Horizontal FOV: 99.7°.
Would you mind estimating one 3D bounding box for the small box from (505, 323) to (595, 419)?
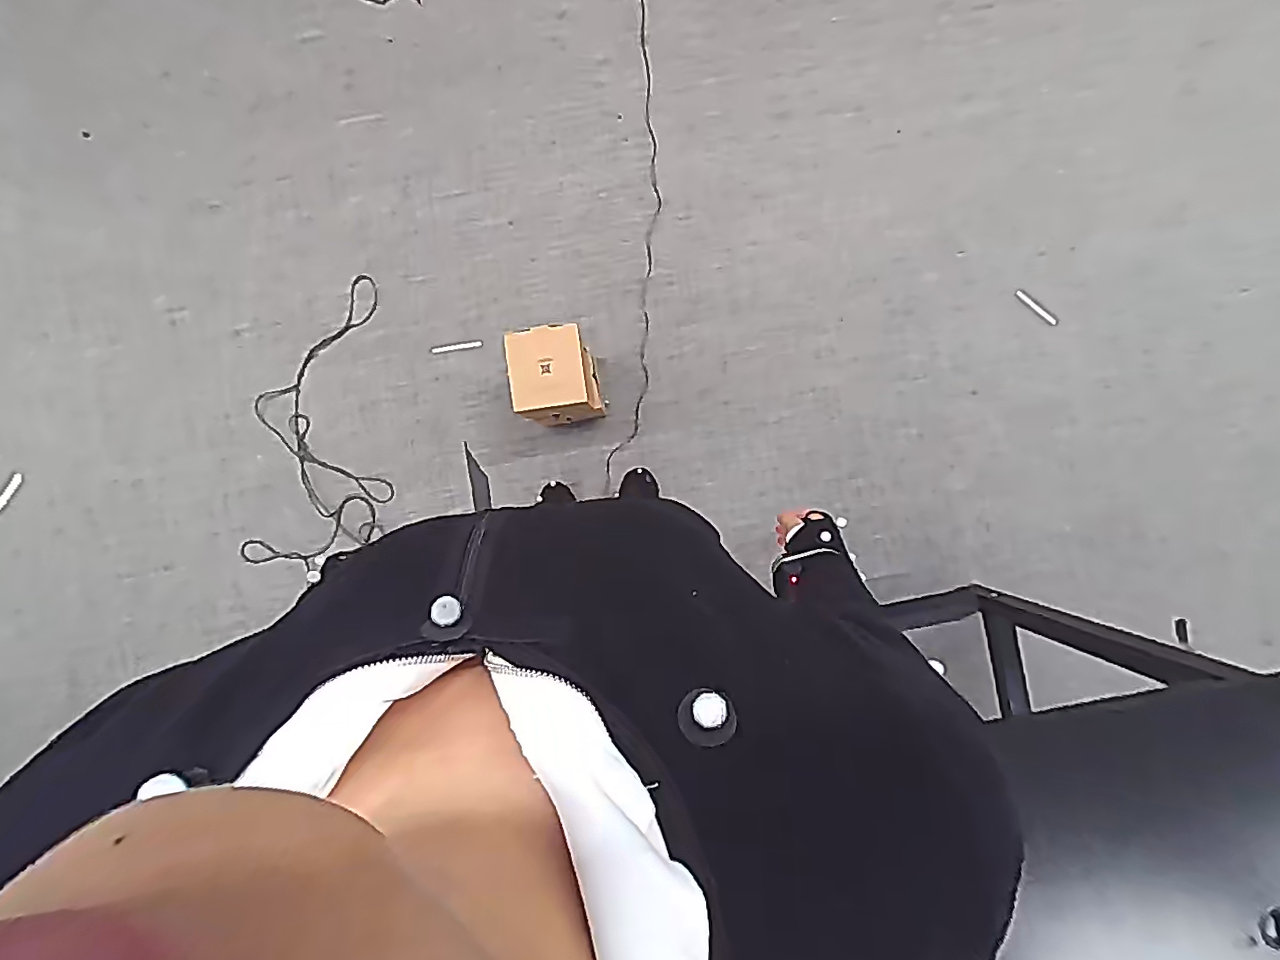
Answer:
[{"bbox_3d":[-0.203,-0.245,1.255,0.168,0.176,0.179,-8,91,2],"label":"small box"}]

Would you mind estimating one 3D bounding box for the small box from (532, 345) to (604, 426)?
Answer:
[{"bbox_3d":[-0.194,-0.242,1.417,0.179,0.176,0.168,-11,90,1],"label":"small box"}]
